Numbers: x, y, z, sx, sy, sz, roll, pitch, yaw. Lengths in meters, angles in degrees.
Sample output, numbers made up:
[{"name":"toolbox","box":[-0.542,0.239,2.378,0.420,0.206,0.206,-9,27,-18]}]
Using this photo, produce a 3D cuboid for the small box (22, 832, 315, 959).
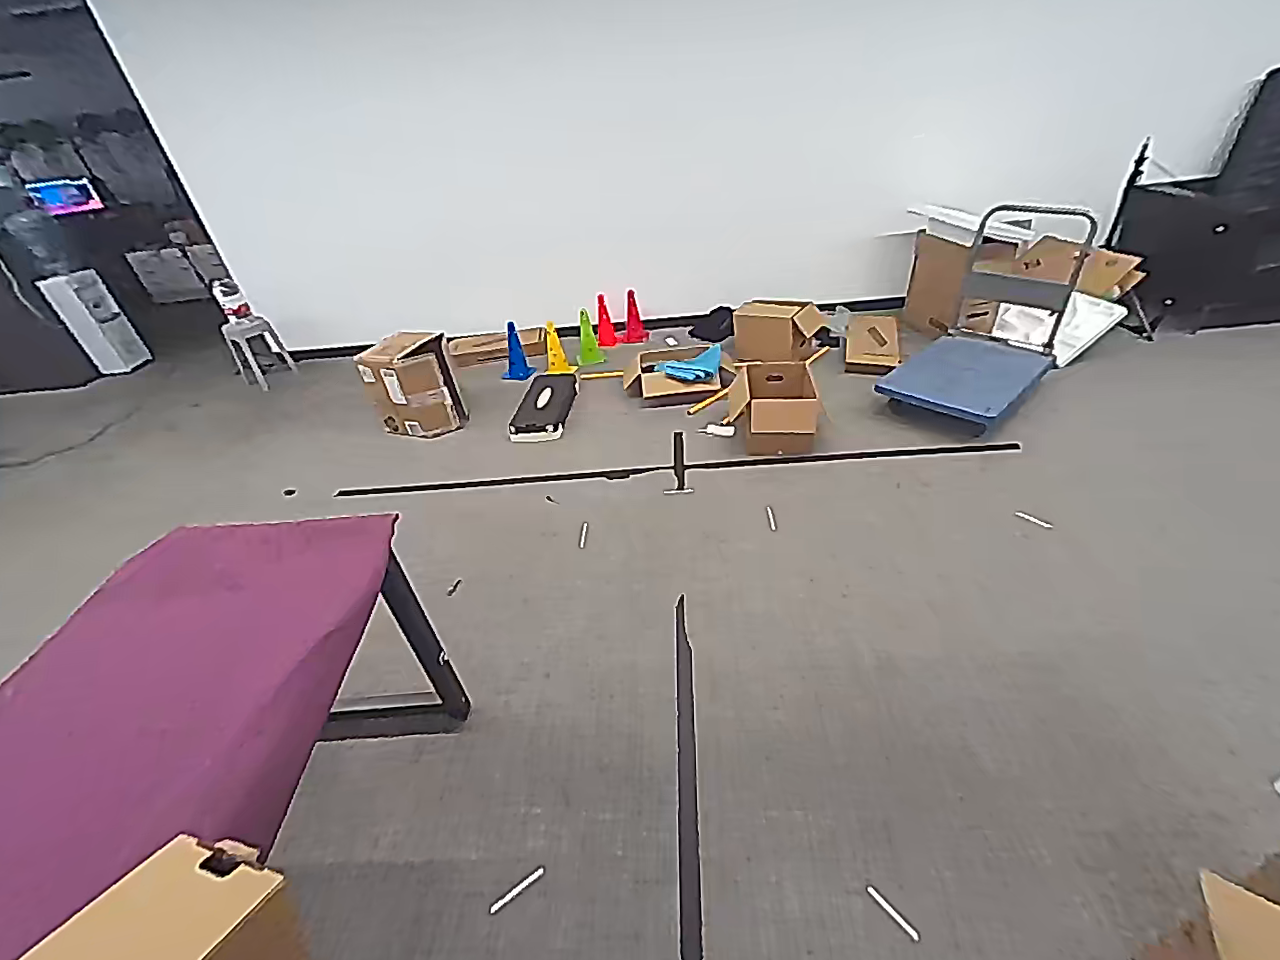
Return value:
[{"name":"small box","box":[-0.428,0.478,0.492,0.168,0.176,0.179,1,16,22]}]
